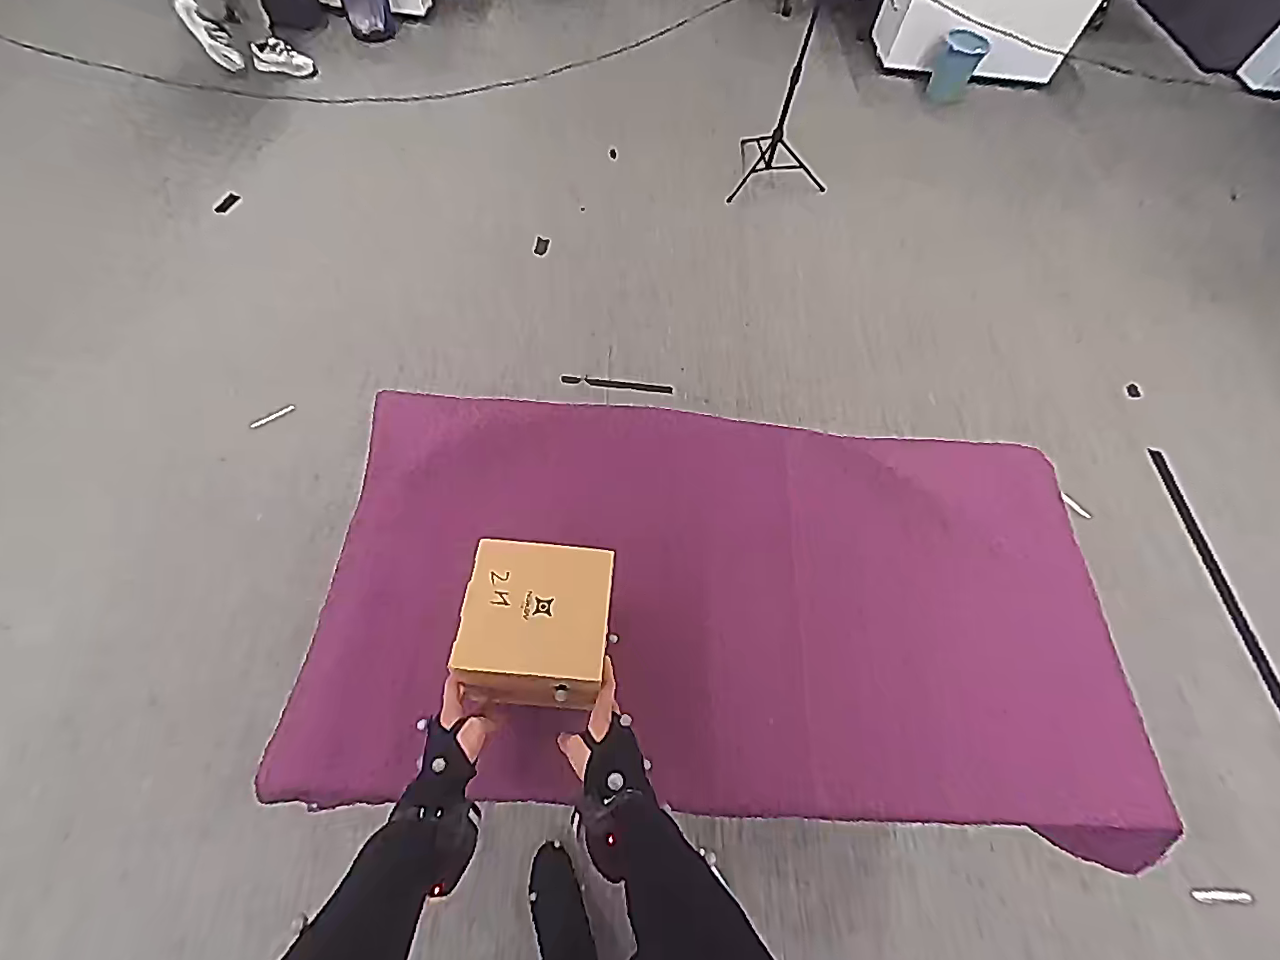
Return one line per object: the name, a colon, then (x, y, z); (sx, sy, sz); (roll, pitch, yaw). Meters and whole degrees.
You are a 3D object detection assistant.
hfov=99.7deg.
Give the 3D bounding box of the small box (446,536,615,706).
small box: (-0.132, 0.193, 0.714); (0.179, 0.176, 0.168); (6, 56, -2)
